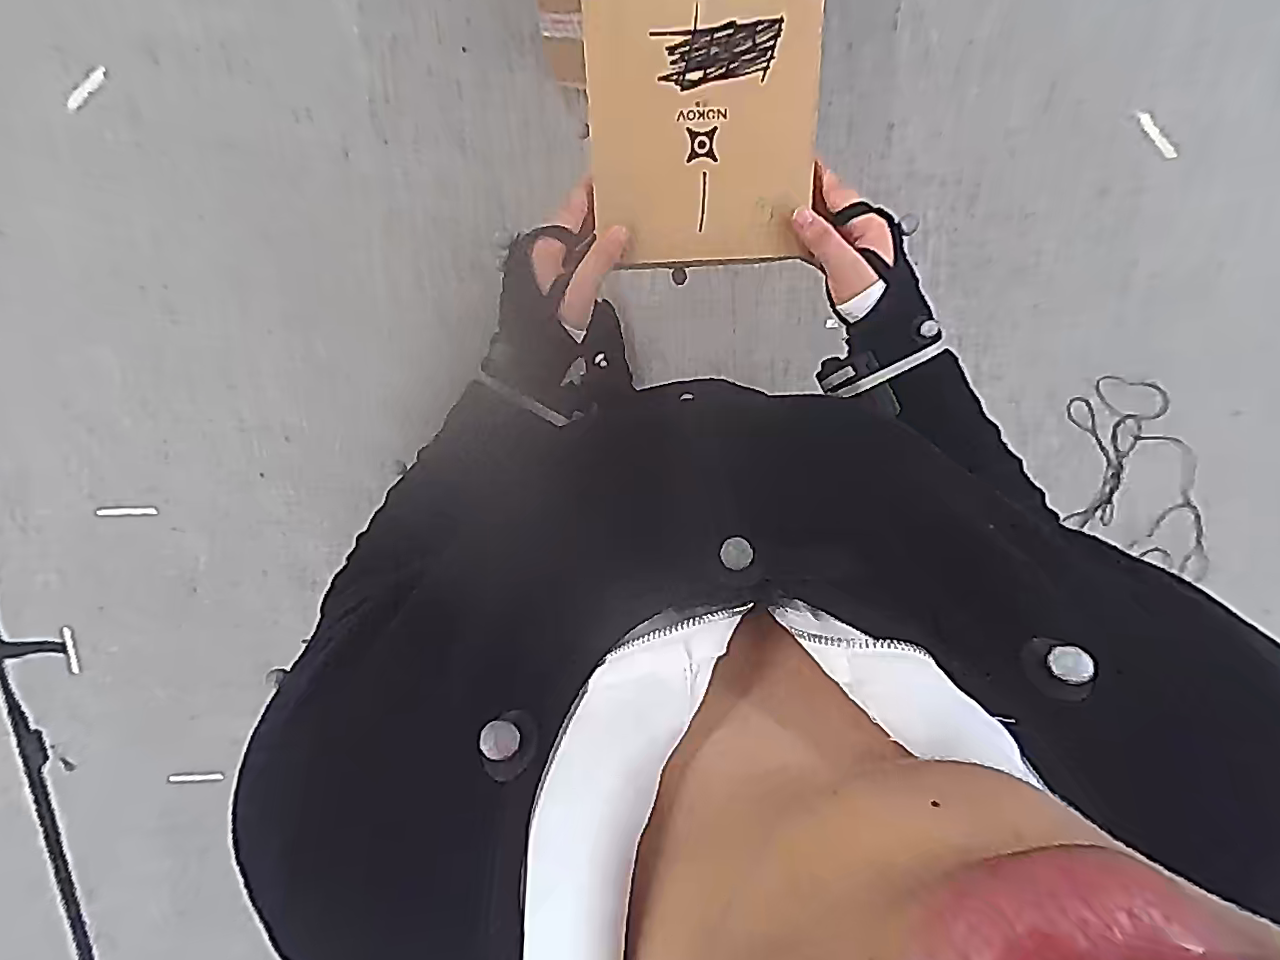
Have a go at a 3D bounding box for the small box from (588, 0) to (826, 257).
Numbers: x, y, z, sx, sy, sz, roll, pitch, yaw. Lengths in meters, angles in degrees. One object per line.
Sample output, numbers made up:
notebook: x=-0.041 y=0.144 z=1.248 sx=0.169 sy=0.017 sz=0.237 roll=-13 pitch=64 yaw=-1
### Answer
small box: x=0.043 y=-0.290 z=0.461 sx=0.168 sy=0.176 sz=0.179 roll=-3 pitch=111 yaw=-1
